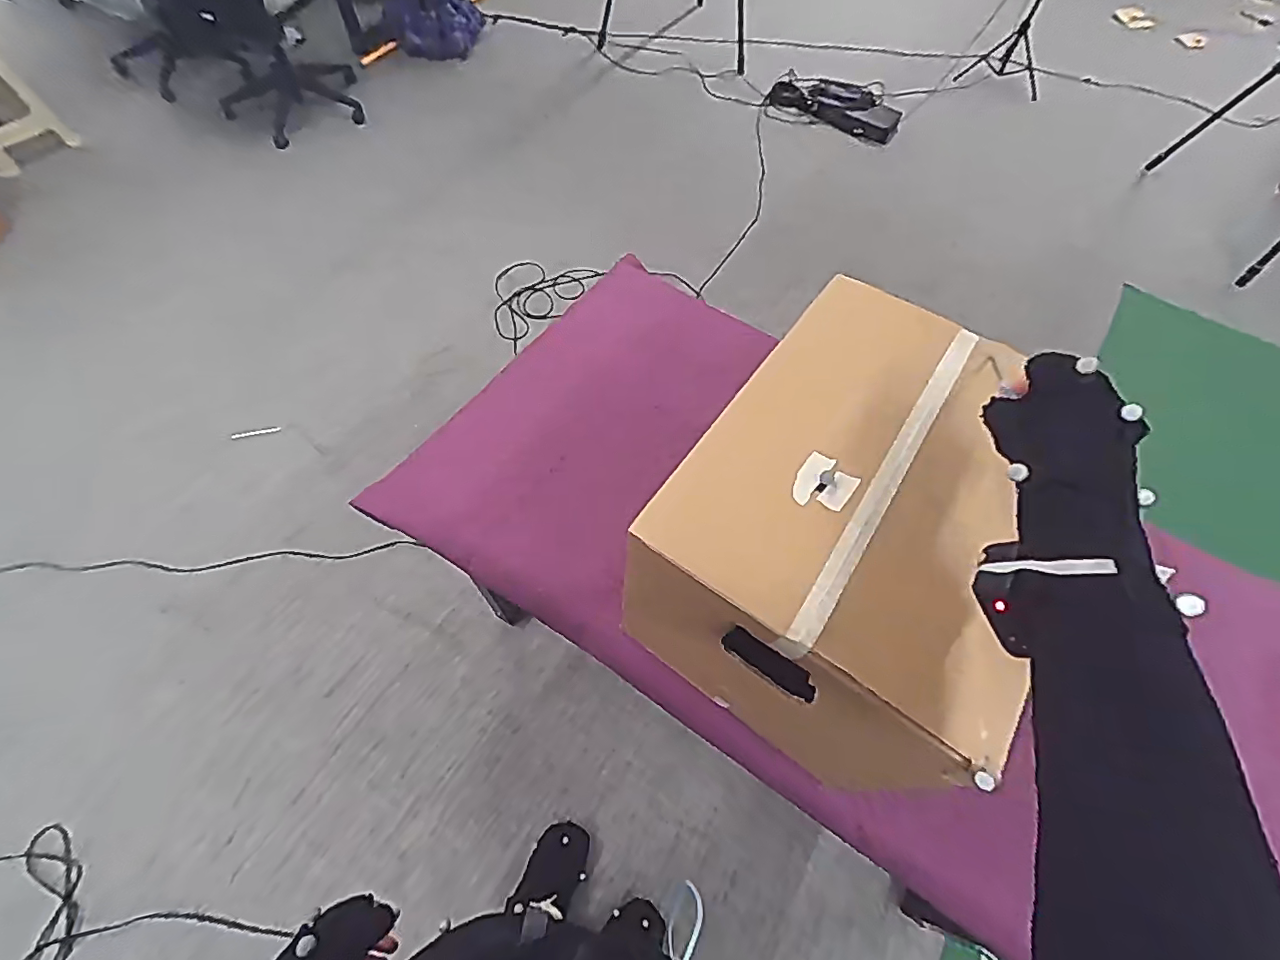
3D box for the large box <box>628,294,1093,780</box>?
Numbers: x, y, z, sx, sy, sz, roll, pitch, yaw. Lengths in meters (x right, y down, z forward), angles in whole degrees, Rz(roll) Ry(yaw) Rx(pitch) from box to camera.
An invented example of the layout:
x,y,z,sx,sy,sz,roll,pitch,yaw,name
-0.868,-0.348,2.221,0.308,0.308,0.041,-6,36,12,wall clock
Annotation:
x,y,z,sx,sy,sz,roll,pitch,yaw,name
0.225,0.070,0.638,0.320,0.320,0.408,33,64,16,large box
